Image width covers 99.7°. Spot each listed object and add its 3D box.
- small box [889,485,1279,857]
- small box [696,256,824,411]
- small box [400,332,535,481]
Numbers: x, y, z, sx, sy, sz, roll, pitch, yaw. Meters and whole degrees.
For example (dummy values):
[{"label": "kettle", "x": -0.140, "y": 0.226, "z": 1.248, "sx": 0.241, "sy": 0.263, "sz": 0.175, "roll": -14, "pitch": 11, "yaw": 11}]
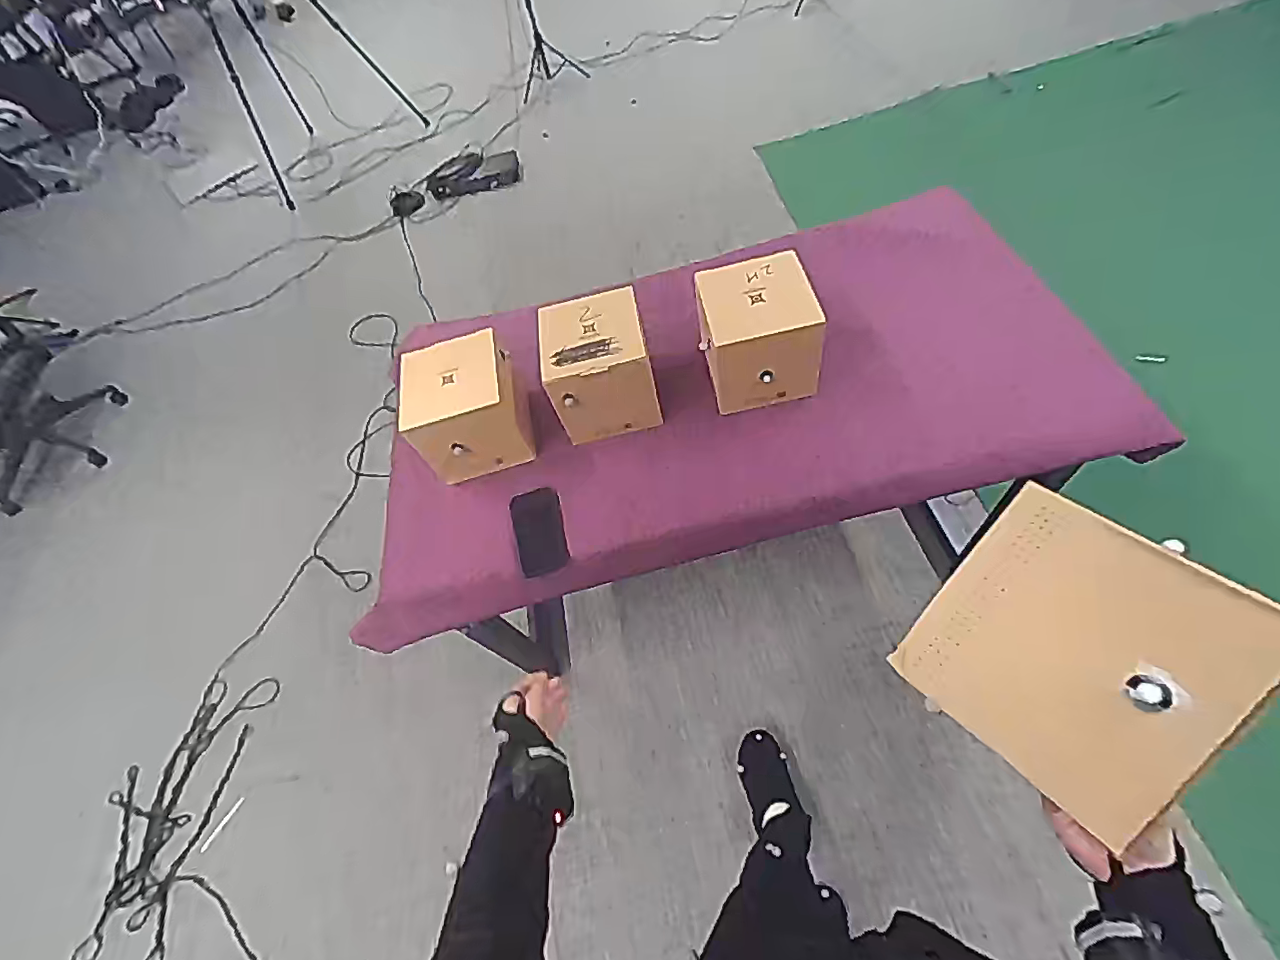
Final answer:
[{"label": "small box", "x": 0.327, "y": 0.129, "z": 0.411, "sx": 0.176, "sy": 0.168, "sz": 0.179, "roll": 42, "pitch": 101, "yaw": 40}, {"label": "small box", "x": 0.195, "y": -0.232, "z": 0.899, "sx": 0.168, "sy": 0.176, "sz": 0.179, "roll": -11, "pitch": 56, "yaw": 5}, {"label": "small box", "x": -0.291, "y": -0.116, "z": 0.934, "sx": 0.168, "sy": 0.176, "sz": 0.179, "roll": -17, "pitch": 55, "yaw": 2}]
